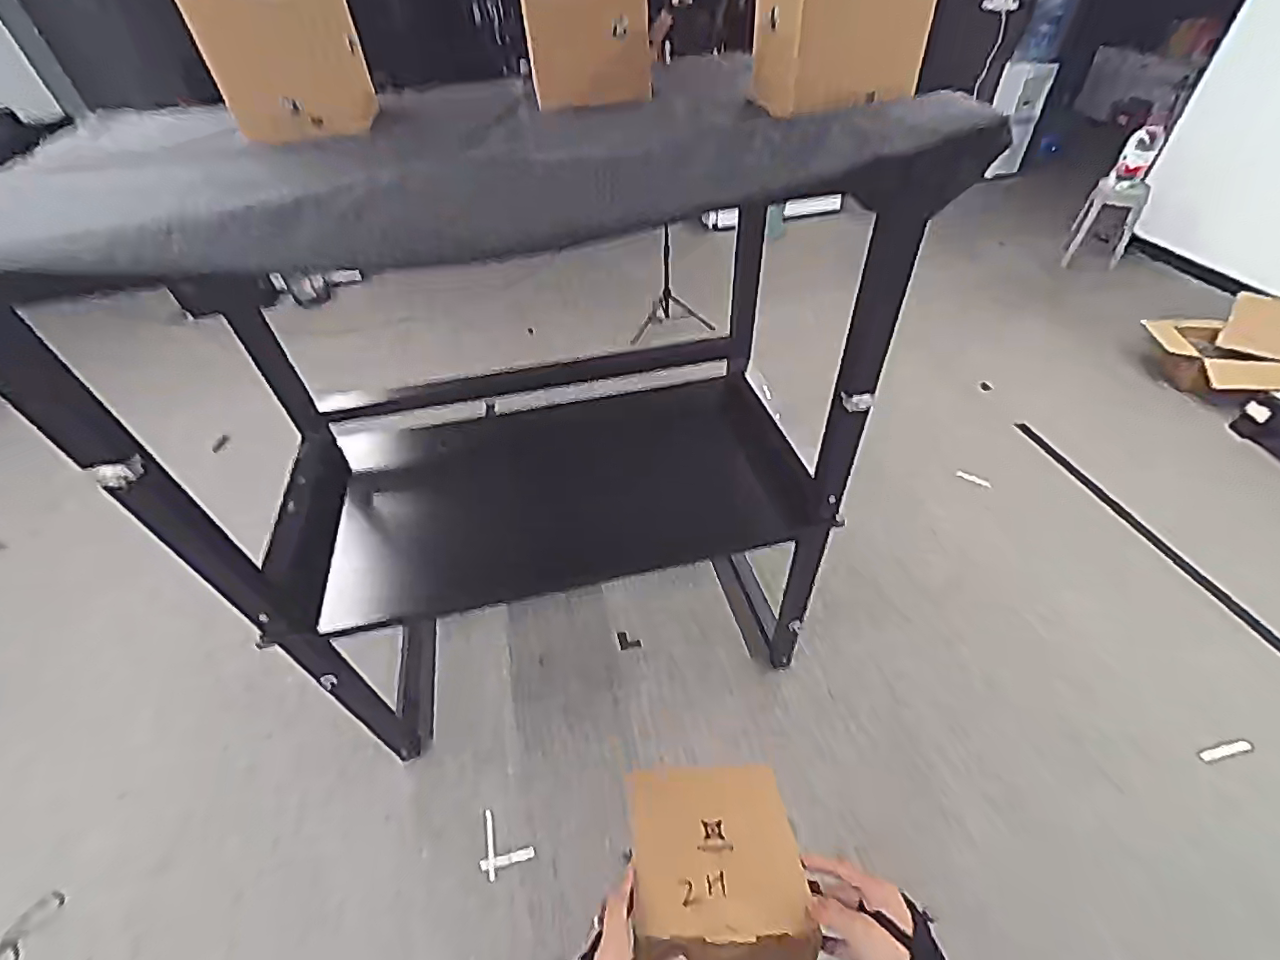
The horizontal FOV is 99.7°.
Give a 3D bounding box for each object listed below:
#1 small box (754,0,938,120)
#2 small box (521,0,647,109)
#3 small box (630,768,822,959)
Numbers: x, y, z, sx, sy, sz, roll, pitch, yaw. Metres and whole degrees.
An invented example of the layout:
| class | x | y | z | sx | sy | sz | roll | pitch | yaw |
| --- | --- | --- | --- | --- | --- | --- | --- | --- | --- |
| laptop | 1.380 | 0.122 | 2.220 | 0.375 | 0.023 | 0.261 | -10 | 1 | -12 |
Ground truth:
| class | x | y | z | sx | sy | sz | roll | pitch | yaw |
| --- | --- | --- | --- | --- | --- | --- | --- | --- | --- |
| small box | 0.254 | -0.581 | 0.698 | 0.168 | 0.176 | 0.179 | -9 | 45 | -4 |
| small box | -0.086 | -0.688 | 0.828 | 0.179 | 0.176 | 0.168 | -9 | 45 | -6 |
| small box | 0.073 | 0.438 | 0.570 | 0.168 | 0.176 | 0.179 | -1 | 22 | -2 |
